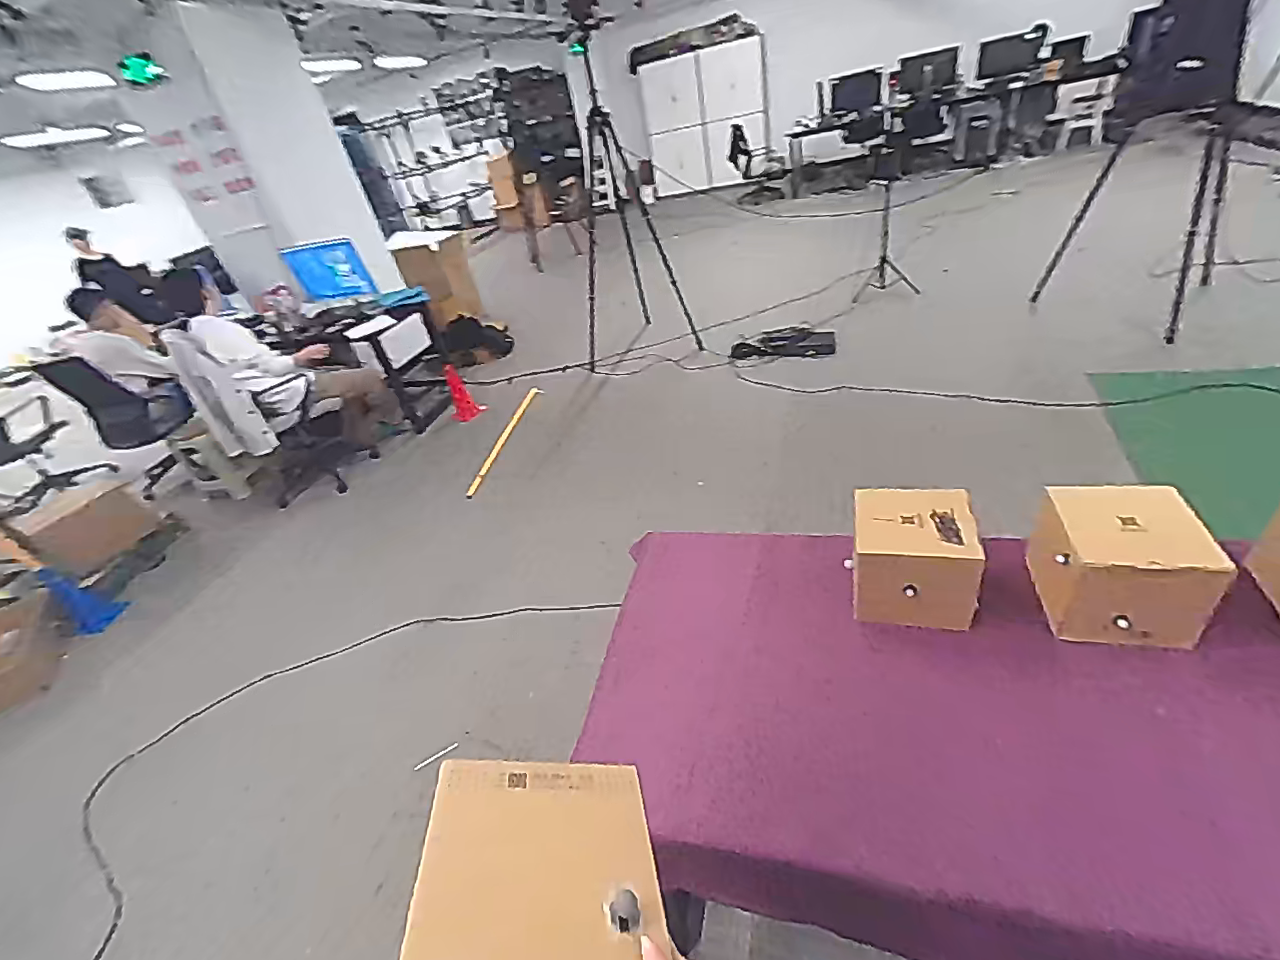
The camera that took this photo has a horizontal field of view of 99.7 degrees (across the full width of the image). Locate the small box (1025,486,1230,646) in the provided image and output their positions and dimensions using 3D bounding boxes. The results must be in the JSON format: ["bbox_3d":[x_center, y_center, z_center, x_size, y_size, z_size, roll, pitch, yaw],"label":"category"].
[{"bbox_3d":[0.721,0.126,0.829,0.168,0.176,0.179,-1,38,19],"label":"small box"}]

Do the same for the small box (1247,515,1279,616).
[{"bbox_3d":[0.990,0.122,0.723,0.168,0.176,0.179,0,40,22],"label":"small box"}]

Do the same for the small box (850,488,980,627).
[{"bbox_3d":[0.453,0.131,0.918,0.179,0.176,0.168,-1,37,21],"label":"small box"}]
